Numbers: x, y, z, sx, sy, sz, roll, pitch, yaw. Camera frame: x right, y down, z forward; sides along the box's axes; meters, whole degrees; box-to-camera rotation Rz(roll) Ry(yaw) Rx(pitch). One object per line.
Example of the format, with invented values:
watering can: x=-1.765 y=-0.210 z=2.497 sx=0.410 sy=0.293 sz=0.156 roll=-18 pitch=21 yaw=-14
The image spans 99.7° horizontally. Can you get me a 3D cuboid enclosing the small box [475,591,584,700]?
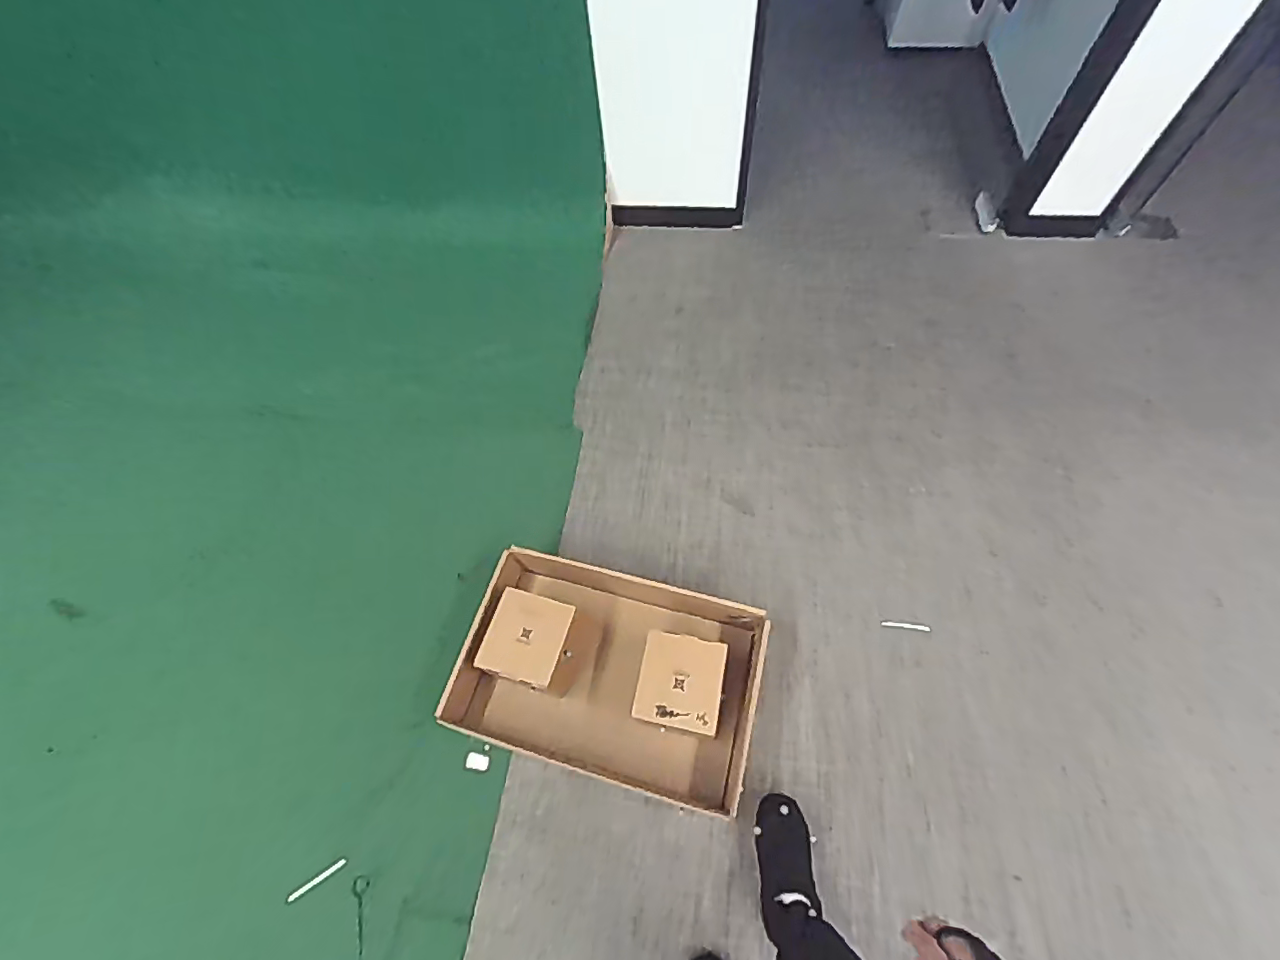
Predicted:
small box: x=-0.231 y=0.370 z=1.190 sx=0.168 sy=0.176 sz=0.179 roll=15 pitch=63 yaw=10
